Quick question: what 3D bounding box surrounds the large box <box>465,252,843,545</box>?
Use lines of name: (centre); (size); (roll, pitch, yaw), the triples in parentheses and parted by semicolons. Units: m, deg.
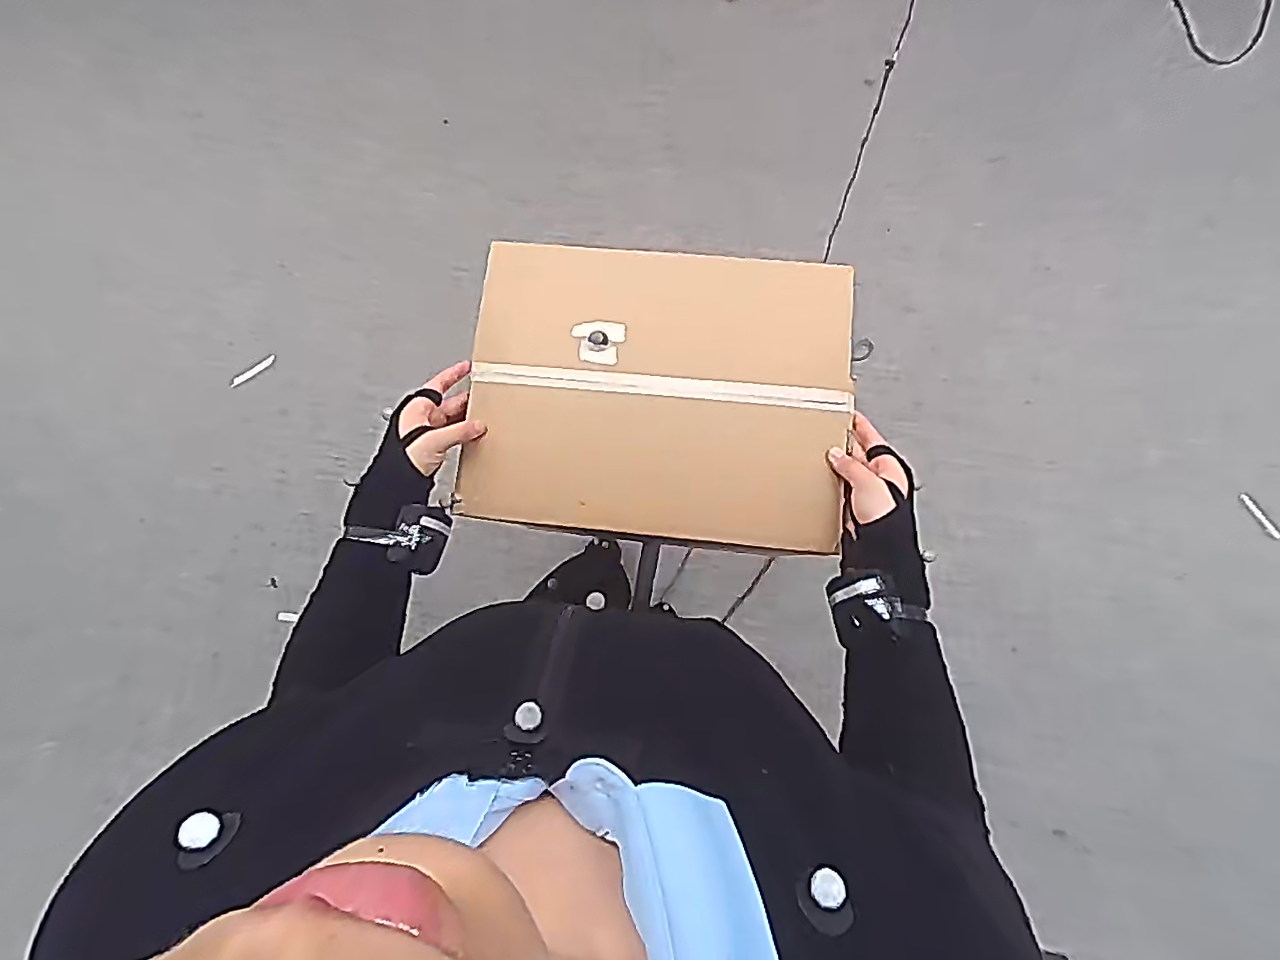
large box: (0.028, -0.080, 0.738); (0.408, 0.320, 0.320); (5, 81, 4)
